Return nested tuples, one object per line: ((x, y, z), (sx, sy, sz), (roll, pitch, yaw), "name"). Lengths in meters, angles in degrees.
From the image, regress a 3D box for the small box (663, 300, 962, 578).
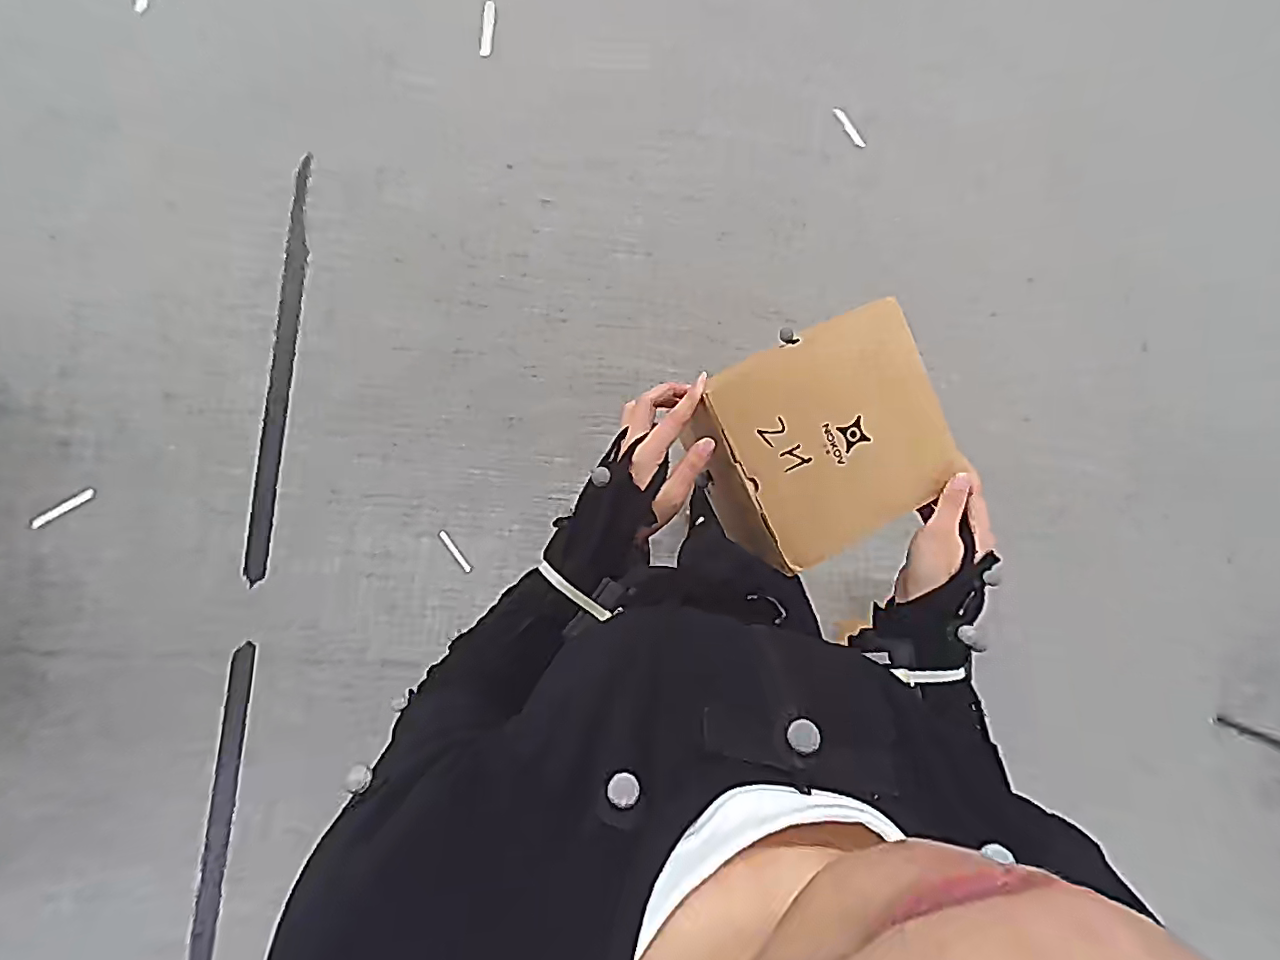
((0.141, -0.040, 0.500), (0.179, 0.176, 0.168), (-28, 99, -5), "small box")
